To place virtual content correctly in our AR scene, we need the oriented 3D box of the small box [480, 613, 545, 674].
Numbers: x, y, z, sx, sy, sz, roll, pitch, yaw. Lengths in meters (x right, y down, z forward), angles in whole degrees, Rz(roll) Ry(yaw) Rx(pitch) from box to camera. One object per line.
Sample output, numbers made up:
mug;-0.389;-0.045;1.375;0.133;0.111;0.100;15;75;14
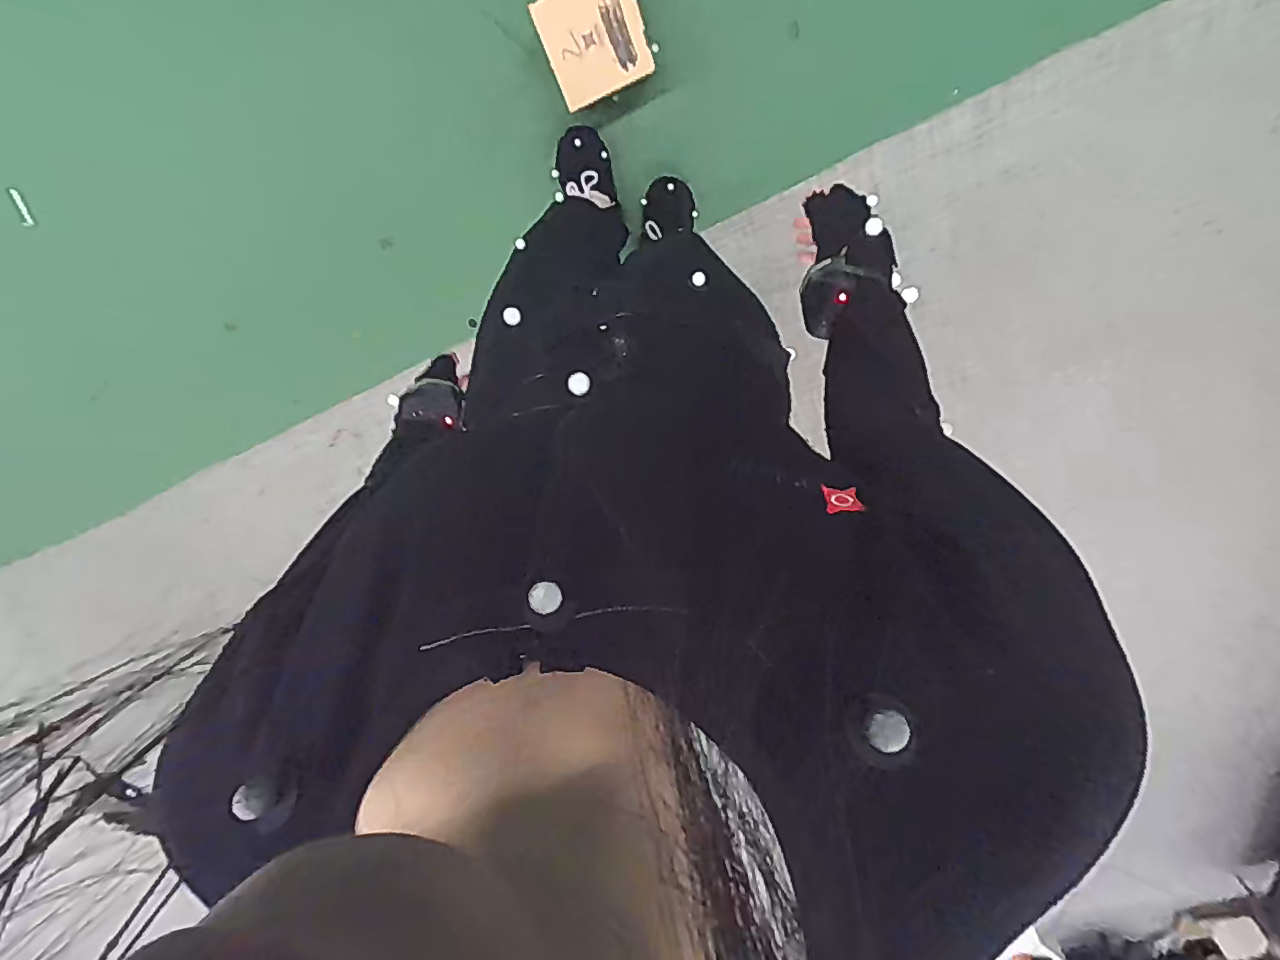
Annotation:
small box;-0.470;0.627;2.022;0.179;0.176;0.168;-25;123;16
